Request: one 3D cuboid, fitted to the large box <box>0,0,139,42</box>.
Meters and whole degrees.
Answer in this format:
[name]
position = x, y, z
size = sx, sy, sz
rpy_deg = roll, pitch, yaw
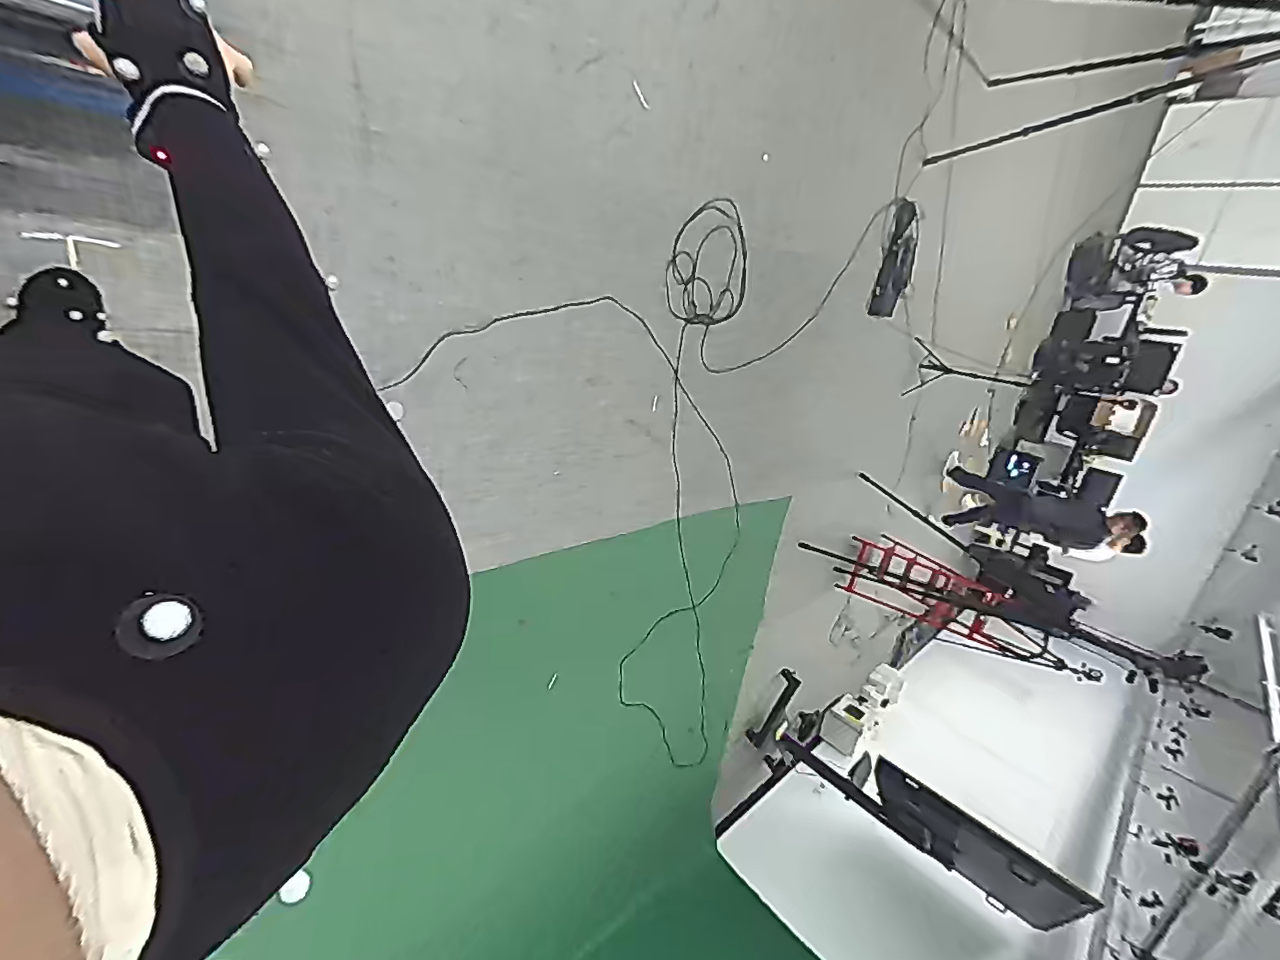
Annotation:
[large box]
position = -0.849, -0.842, 0.642
size = 0.320, 0.320, 0.408
rpy_deg = -13, 117, -41
